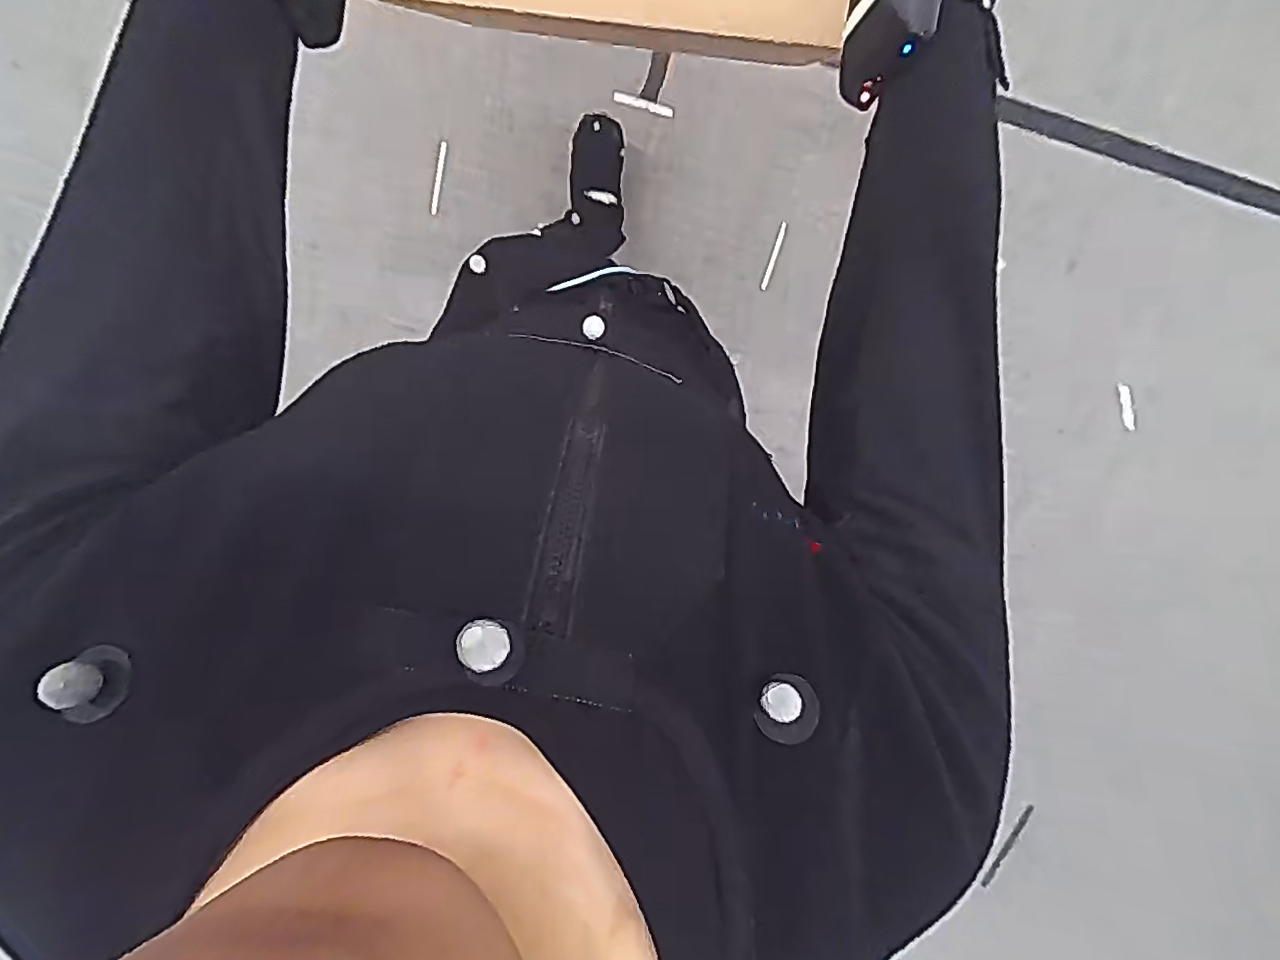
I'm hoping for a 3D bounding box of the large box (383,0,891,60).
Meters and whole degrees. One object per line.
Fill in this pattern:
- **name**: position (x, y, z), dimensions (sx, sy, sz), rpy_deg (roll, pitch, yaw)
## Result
- **large box**: position (0.003, -0.561, 0.443), dimensions (0.408, 0.320, 0.320), rpy_deg (6, 127, -2)
